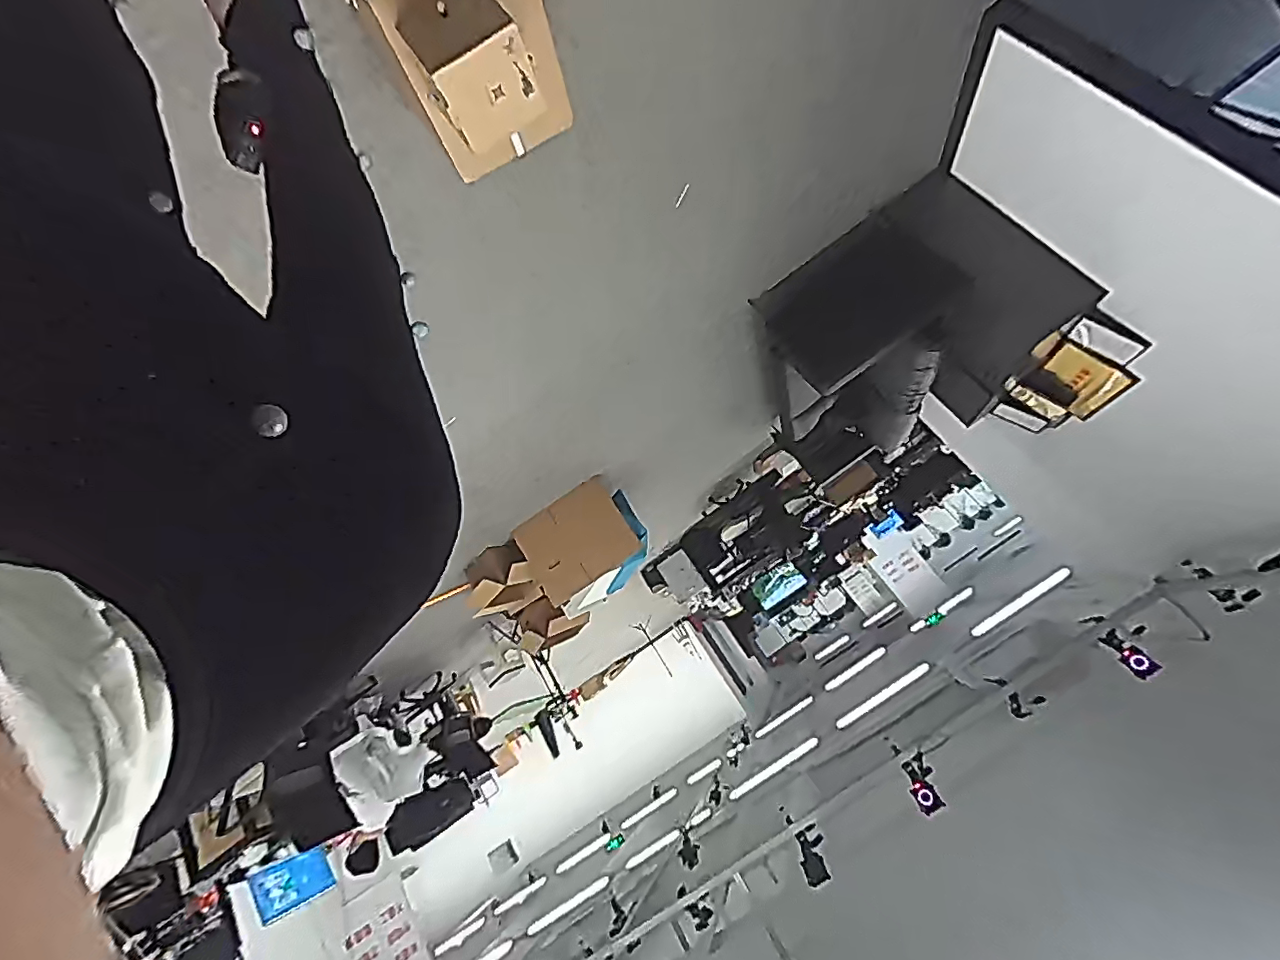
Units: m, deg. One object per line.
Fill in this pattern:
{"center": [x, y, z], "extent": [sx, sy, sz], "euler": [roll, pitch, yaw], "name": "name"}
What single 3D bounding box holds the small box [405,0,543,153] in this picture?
{"center": [-0.317, -0.778, 1.024], "extent": [0.179, 0.176, 0.168], "euler": [-33, 160, -1], "name": "small box"}
